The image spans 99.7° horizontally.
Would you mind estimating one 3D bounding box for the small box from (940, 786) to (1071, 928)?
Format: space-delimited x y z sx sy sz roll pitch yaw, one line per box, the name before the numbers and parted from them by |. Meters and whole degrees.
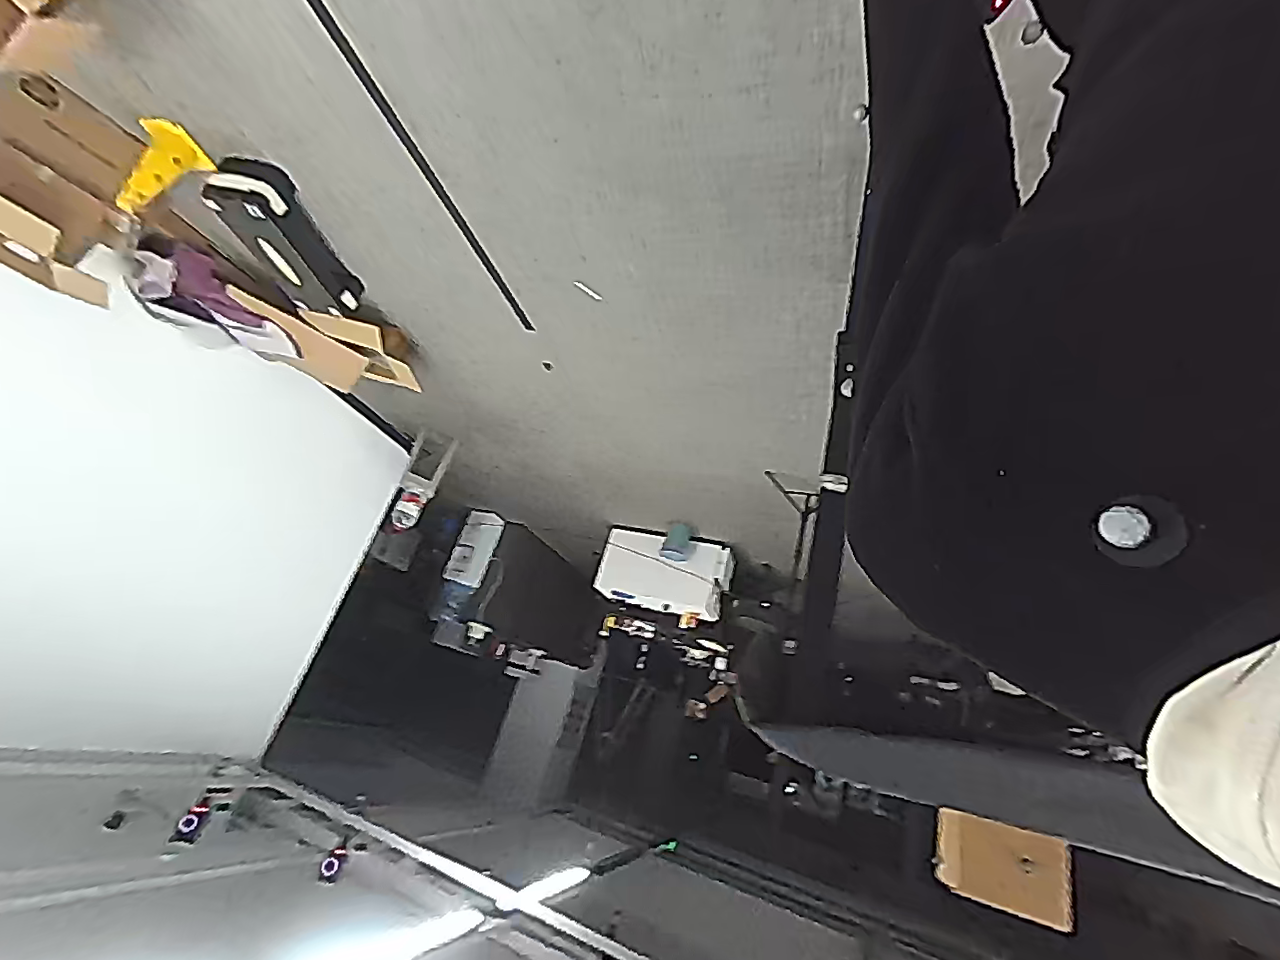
small box | 0.669 0.686 1.008 0.168 0.176 0.179 7 155 23
